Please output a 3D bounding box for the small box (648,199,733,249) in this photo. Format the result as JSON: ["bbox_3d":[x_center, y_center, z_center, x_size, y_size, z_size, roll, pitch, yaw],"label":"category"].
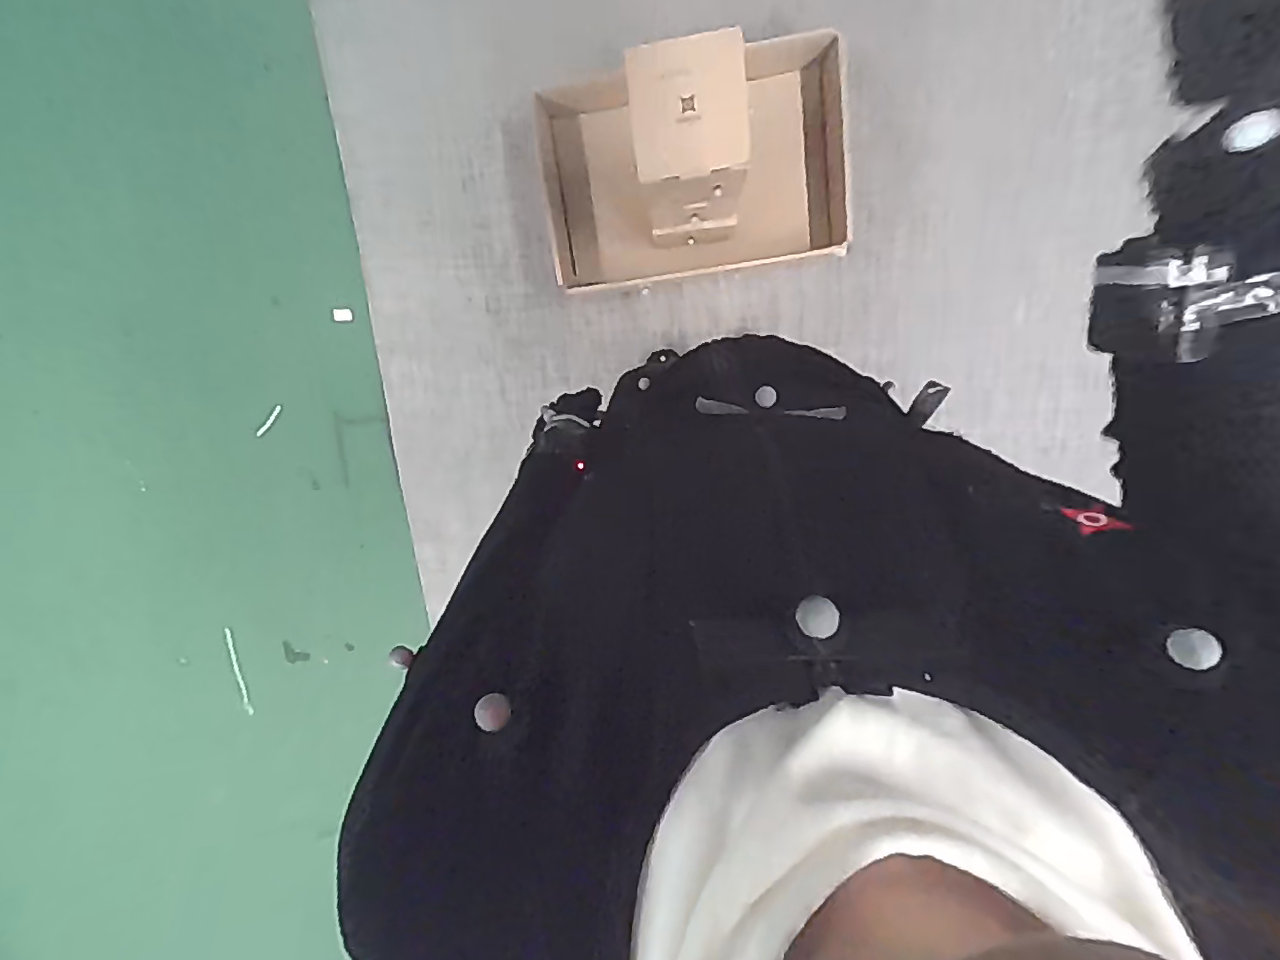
[{"bbox_3d":[0.106,-0.612,1.178,0.179,0.176,0.168,-3,103,7],"label":"small box"}]

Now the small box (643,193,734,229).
[{"bbox_3d":[0.084,-0.589,1.021,0.168,0.176,0.179,-8,102,8],"label":"small box"}]

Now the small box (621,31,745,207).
[{"bbox_3d":[0.069,-0.543,0.845,0.168,0.176,0.179,-6,102,5],"label":"small box"}]
